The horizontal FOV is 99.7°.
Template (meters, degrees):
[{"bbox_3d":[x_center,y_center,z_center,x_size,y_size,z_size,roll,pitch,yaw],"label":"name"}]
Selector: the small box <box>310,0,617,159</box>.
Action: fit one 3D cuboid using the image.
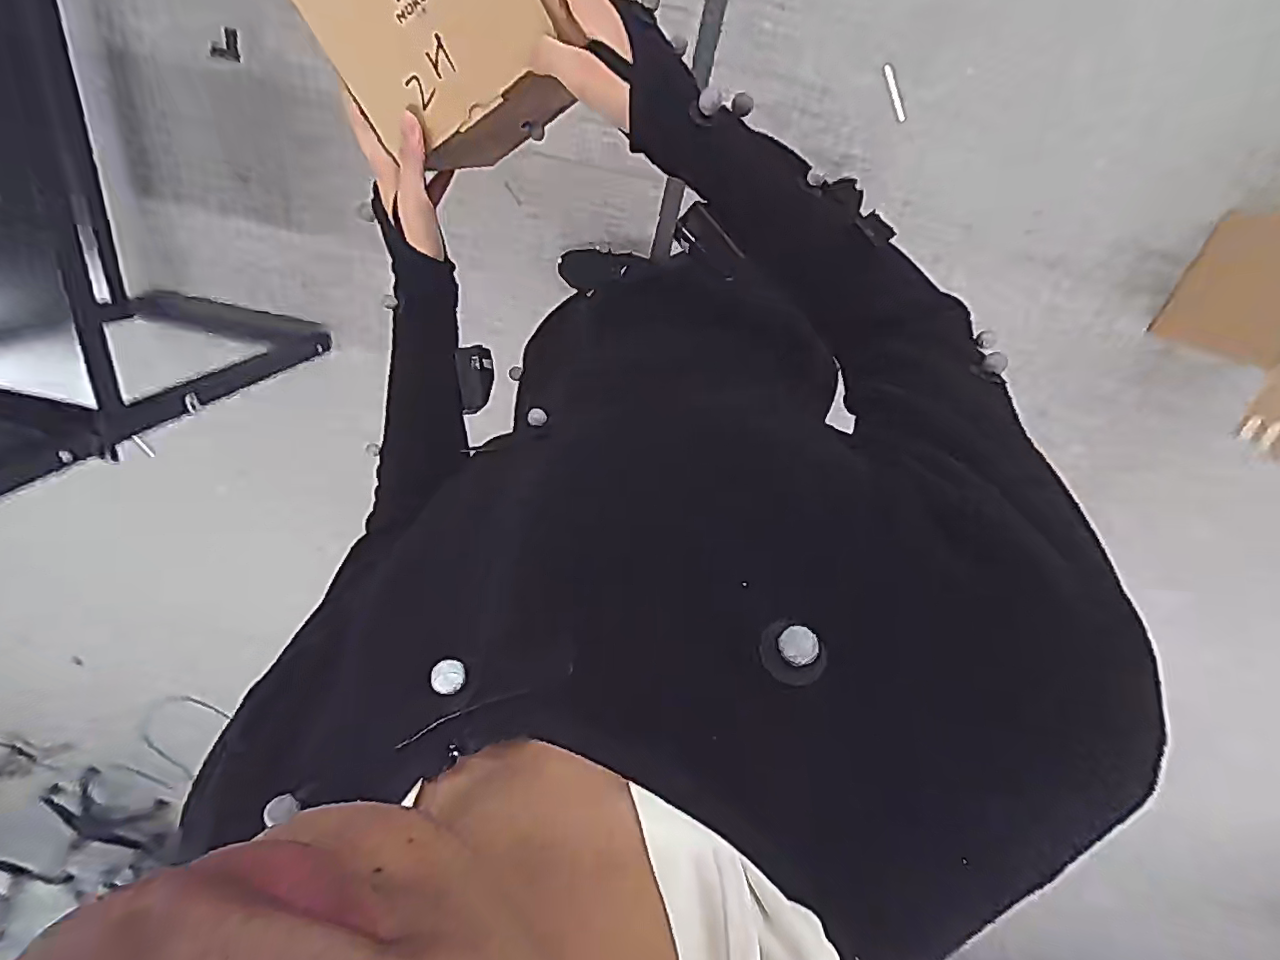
[{"bbox_3d":[-0.140,-0.391,0.441,0.168,0.176,0.179,-20,115,23],"label":"small box"}]
